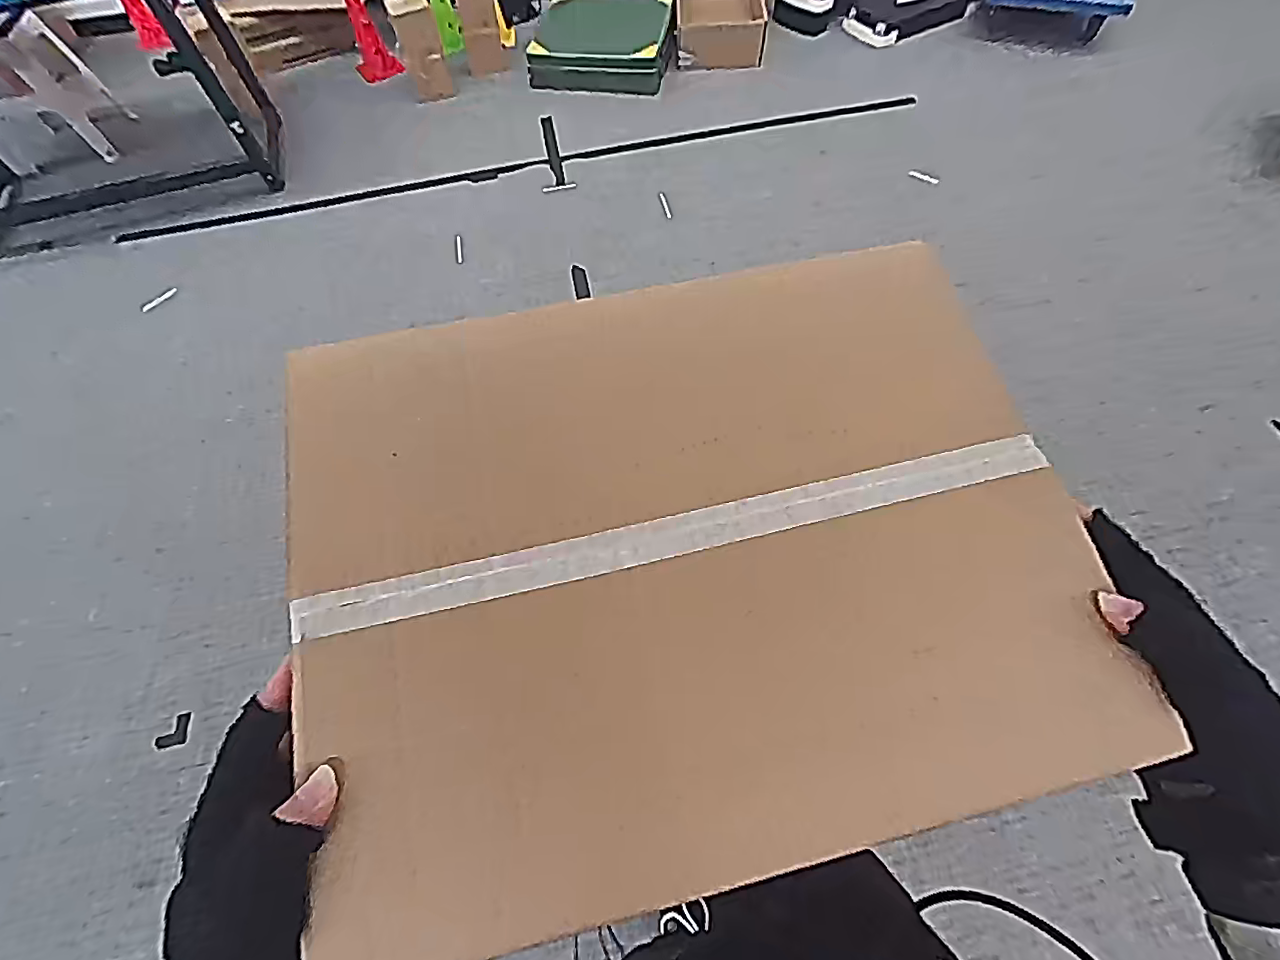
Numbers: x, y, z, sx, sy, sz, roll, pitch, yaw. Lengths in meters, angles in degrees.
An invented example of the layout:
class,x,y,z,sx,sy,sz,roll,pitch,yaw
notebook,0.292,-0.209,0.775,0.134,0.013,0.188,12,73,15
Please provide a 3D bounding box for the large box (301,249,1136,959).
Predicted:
class,x,y,z,sx,sy,sz,roll,pitch,yaw
large box,0.023,0.076,0.438,0.408,0.320,0.320,-13,71,-5
